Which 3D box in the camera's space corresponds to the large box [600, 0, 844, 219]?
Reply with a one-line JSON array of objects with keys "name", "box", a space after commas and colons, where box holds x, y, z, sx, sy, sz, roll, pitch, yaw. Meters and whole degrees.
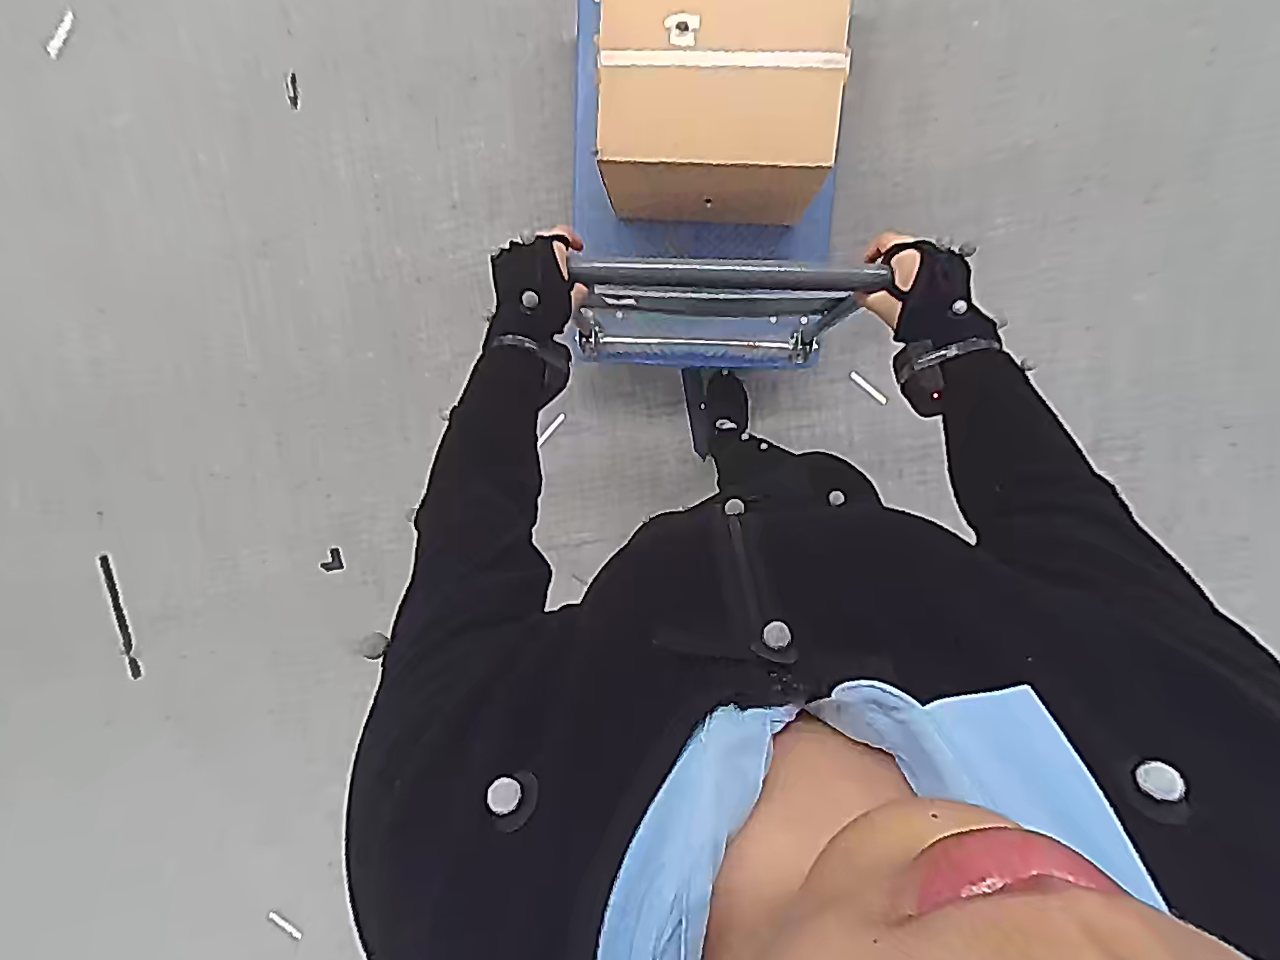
[{"name": "large box", "box": [0.148, -0.719, 1.055, 0.408, 0.320, 0.320, 3, 98, 5]}]
